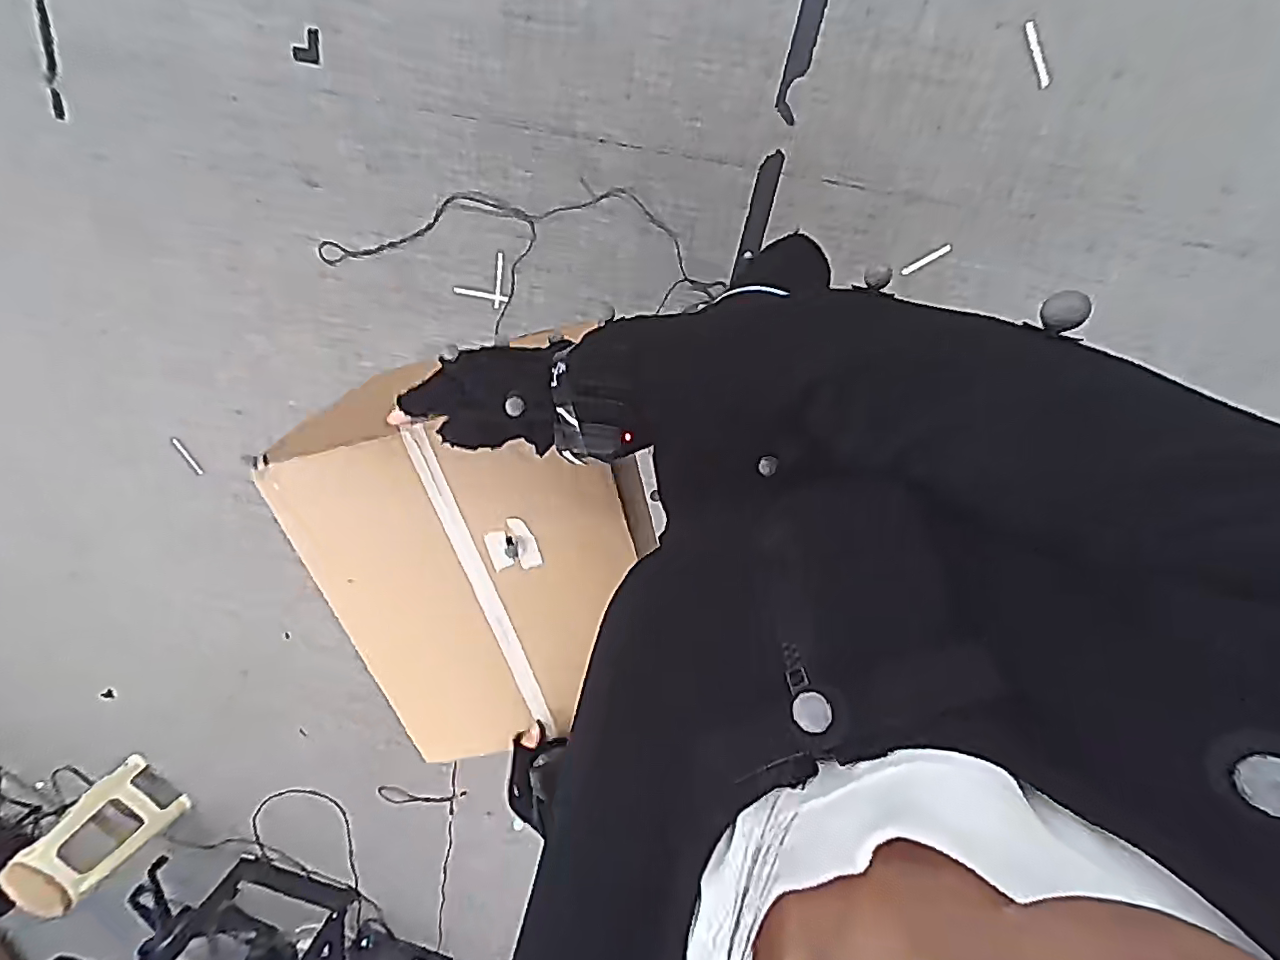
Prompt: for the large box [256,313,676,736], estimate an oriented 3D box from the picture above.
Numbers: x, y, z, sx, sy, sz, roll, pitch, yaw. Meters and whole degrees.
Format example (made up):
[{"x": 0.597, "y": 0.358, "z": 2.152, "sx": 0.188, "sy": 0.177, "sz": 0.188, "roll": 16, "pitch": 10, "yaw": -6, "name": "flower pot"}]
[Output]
[{"x": -0.156, "y": 0.040, "z": 0.690, "sx": 0.320, "sy": 0.320, "sz": 0.408, "roll": -13, "pitch": 114, "yaw": 3, "name": "large box"}]
